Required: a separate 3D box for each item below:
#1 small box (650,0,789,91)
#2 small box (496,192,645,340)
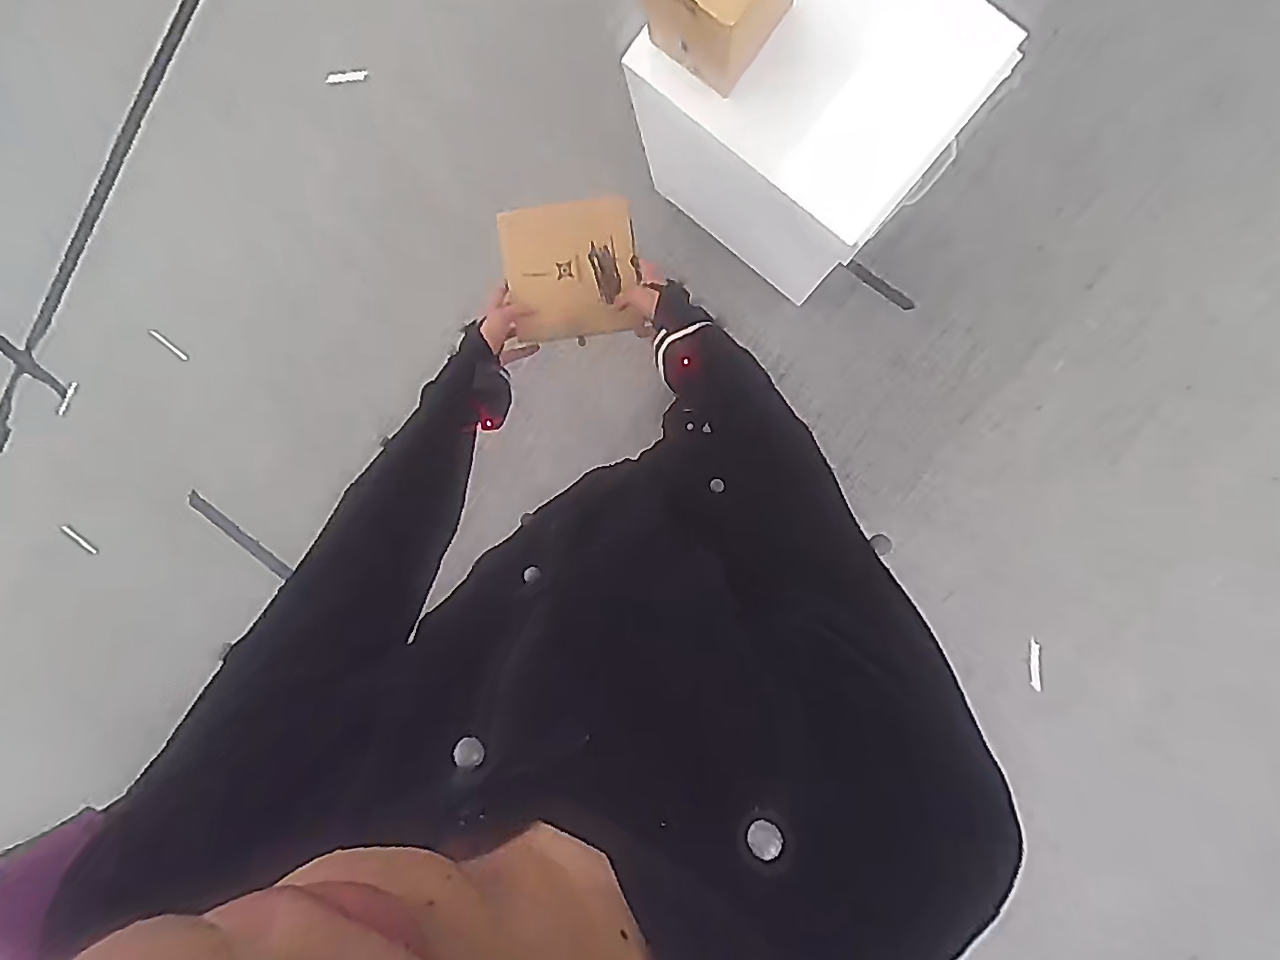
[{"bbox_3d":[0.121,-0.737,0.796,0.168,0.176,0.179,38,102,1],"label":"small box"},{"bbox_3d":[-0.088,-0.298,0.779,0.179,0.176,0.168,-7,105,4],"label":"small box"}]
